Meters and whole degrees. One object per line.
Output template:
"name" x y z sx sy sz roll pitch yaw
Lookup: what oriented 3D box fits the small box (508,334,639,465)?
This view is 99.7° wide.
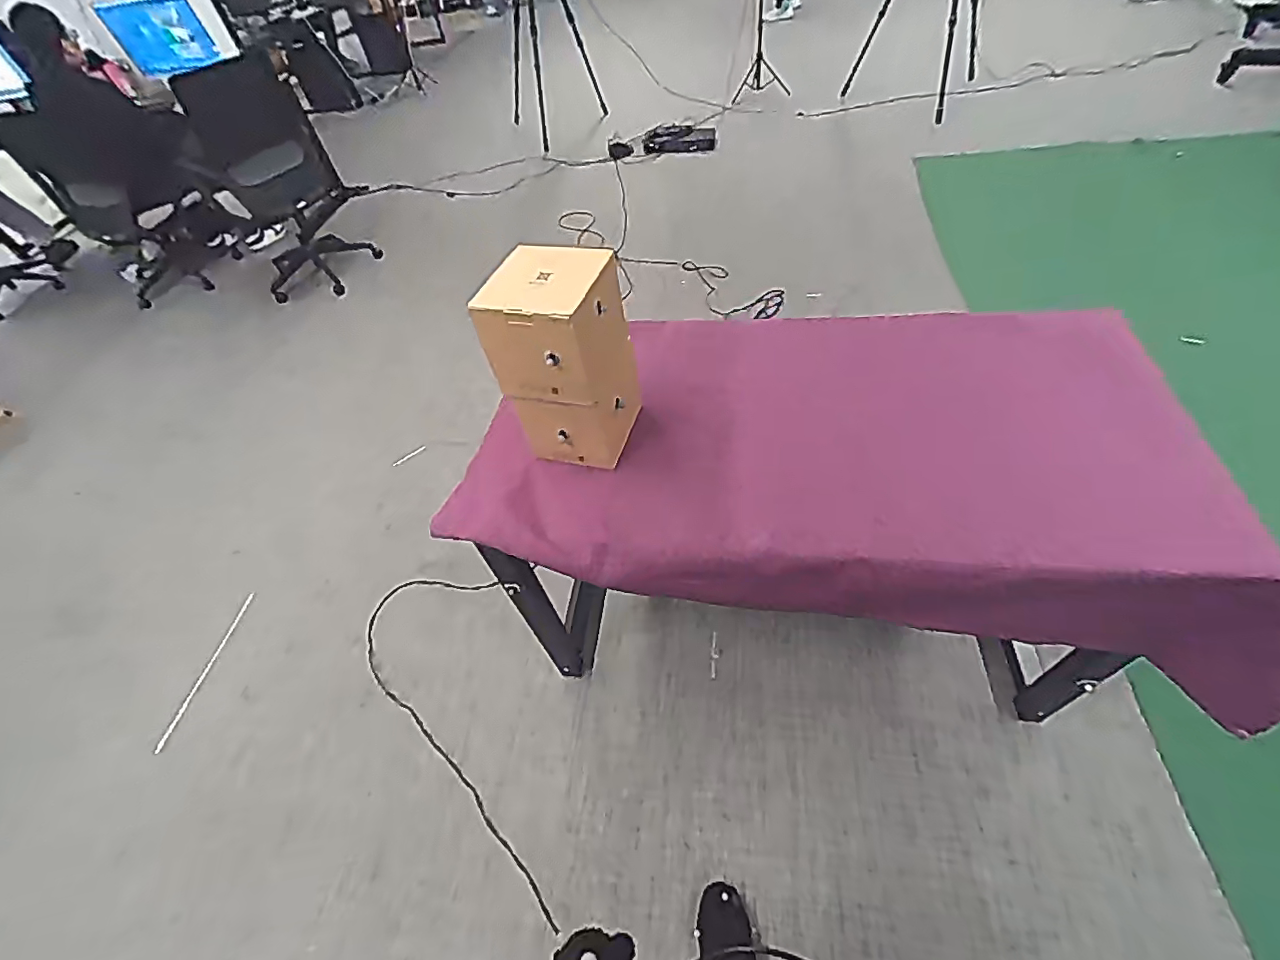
"small box" -0.108 -0.149 0.981 0.168 0.176 0.179 9 54 16

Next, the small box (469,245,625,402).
"small box" -0.131 -0.244 0.850 0.168 0.176 0.179 10 53 17
